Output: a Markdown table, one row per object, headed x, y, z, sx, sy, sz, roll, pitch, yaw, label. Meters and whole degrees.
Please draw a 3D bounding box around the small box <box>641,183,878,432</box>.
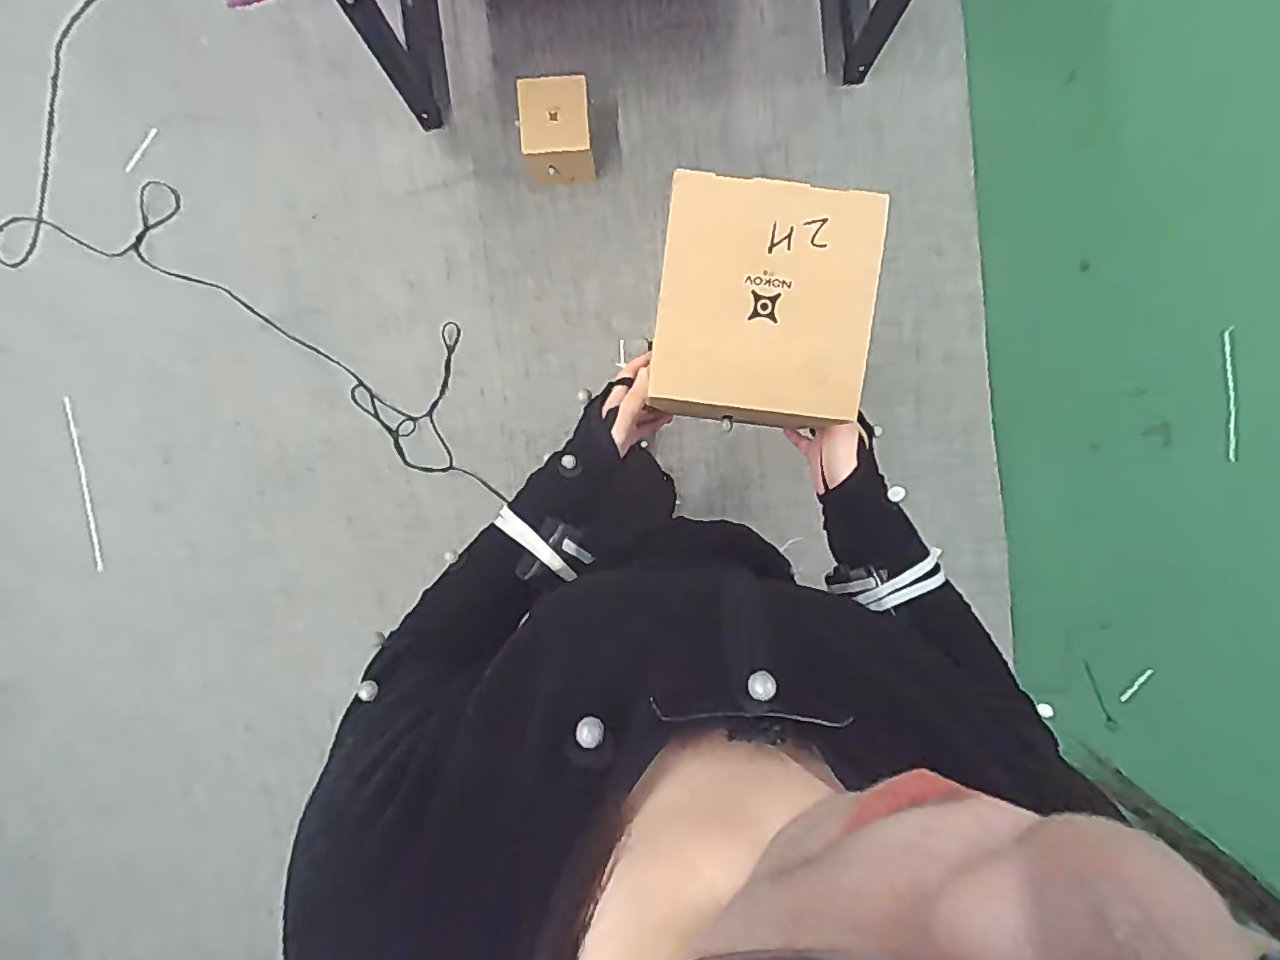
| x | y | z | sx | sy | sz | roll | pitch | yaw | label |
| --- | --- | --- | --- | --- | --- | --- | --- | --- | --- |
| 0.096 | -0.142 | 0.509 | 0.168 | 0.176 | 0.179 | 8 | 93 | 0 | small box |
